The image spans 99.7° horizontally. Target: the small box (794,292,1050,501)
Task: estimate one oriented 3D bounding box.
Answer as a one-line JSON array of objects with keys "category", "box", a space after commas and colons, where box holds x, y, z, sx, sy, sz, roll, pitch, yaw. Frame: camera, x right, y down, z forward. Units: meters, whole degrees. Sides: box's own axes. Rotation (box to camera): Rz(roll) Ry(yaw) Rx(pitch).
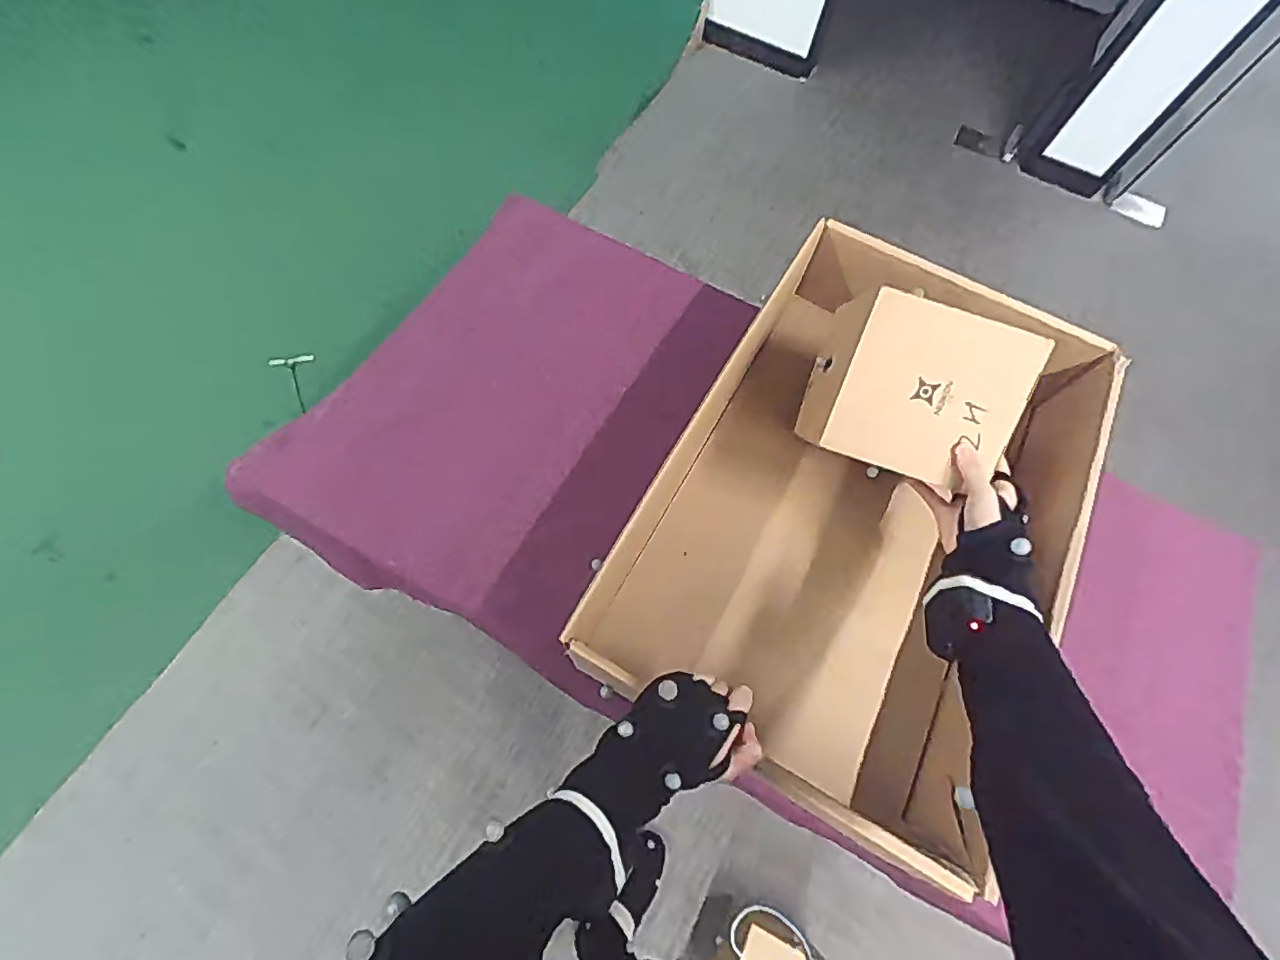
[{"category": "small box", "box": [0.293, -0.094, 0.613, 0.179, 0.176, 0.168, 19, 102, 1]}]
